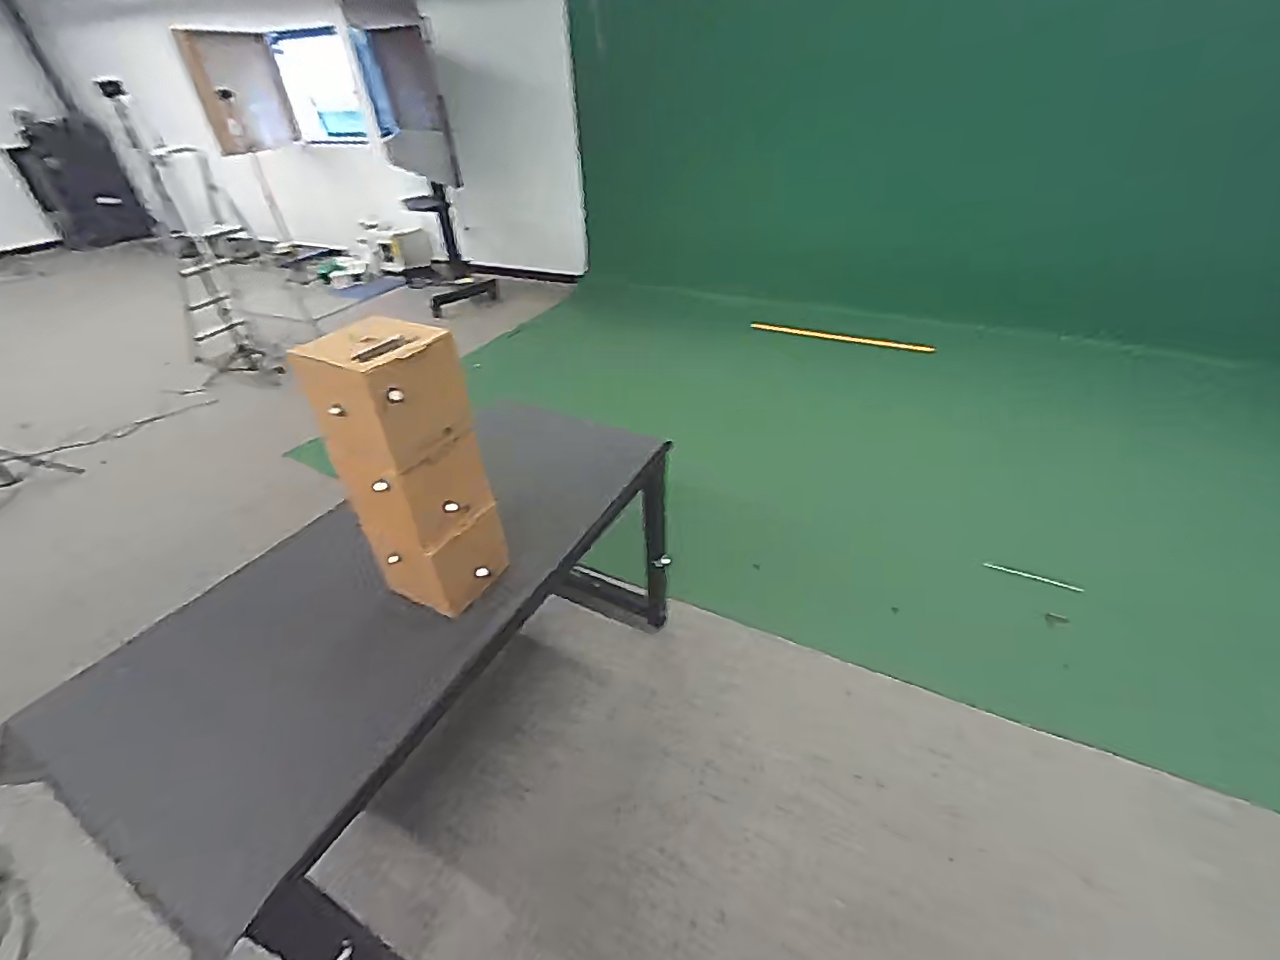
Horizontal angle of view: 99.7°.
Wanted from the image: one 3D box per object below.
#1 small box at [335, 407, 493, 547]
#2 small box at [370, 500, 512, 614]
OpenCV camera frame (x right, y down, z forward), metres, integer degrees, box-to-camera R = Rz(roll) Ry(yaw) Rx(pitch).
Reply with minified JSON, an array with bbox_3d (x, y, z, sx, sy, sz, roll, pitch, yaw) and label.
[{"bbox_3d":[-0.389,-0.006,0.954,0.179,0.176,0.168,17,40,25],"label":"small box"},{"bbox_3d":[-0.375,0.128,1.043,0.179,0.176,0.168,16,41,25],"label":"small box"}]
